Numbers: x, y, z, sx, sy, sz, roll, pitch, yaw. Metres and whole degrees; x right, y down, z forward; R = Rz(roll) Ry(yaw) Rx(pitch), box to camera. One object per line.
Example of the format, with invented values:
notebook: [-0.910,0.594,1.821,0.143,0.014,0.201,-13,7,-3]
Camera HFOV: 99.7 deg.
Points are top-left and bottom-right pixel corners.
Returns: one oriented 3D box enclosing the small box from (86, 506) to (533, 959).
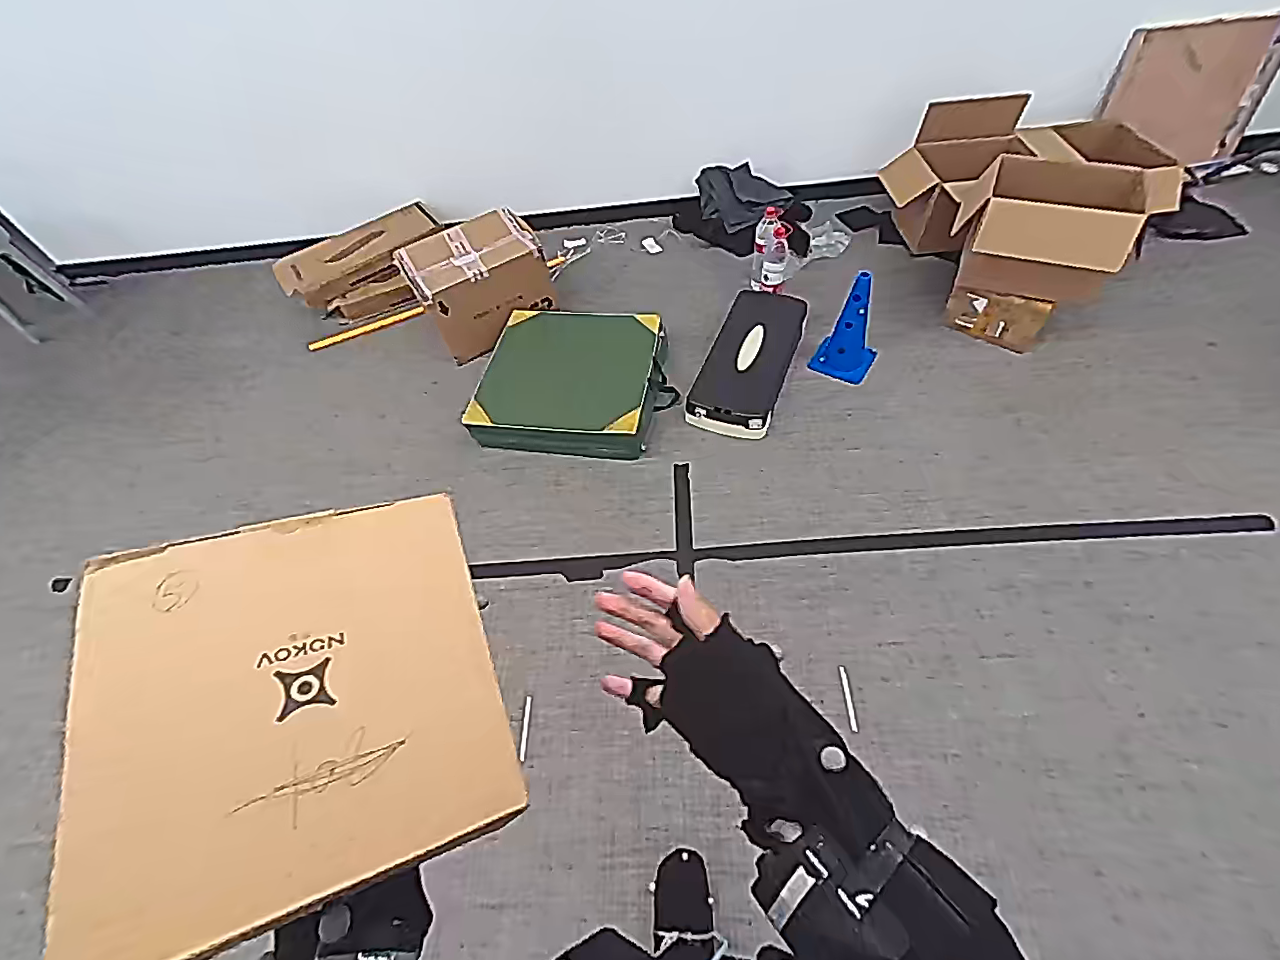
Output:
small box: [-0.176,0.142,0.326,0.168,0.176,0.179,-11,61,-25]
